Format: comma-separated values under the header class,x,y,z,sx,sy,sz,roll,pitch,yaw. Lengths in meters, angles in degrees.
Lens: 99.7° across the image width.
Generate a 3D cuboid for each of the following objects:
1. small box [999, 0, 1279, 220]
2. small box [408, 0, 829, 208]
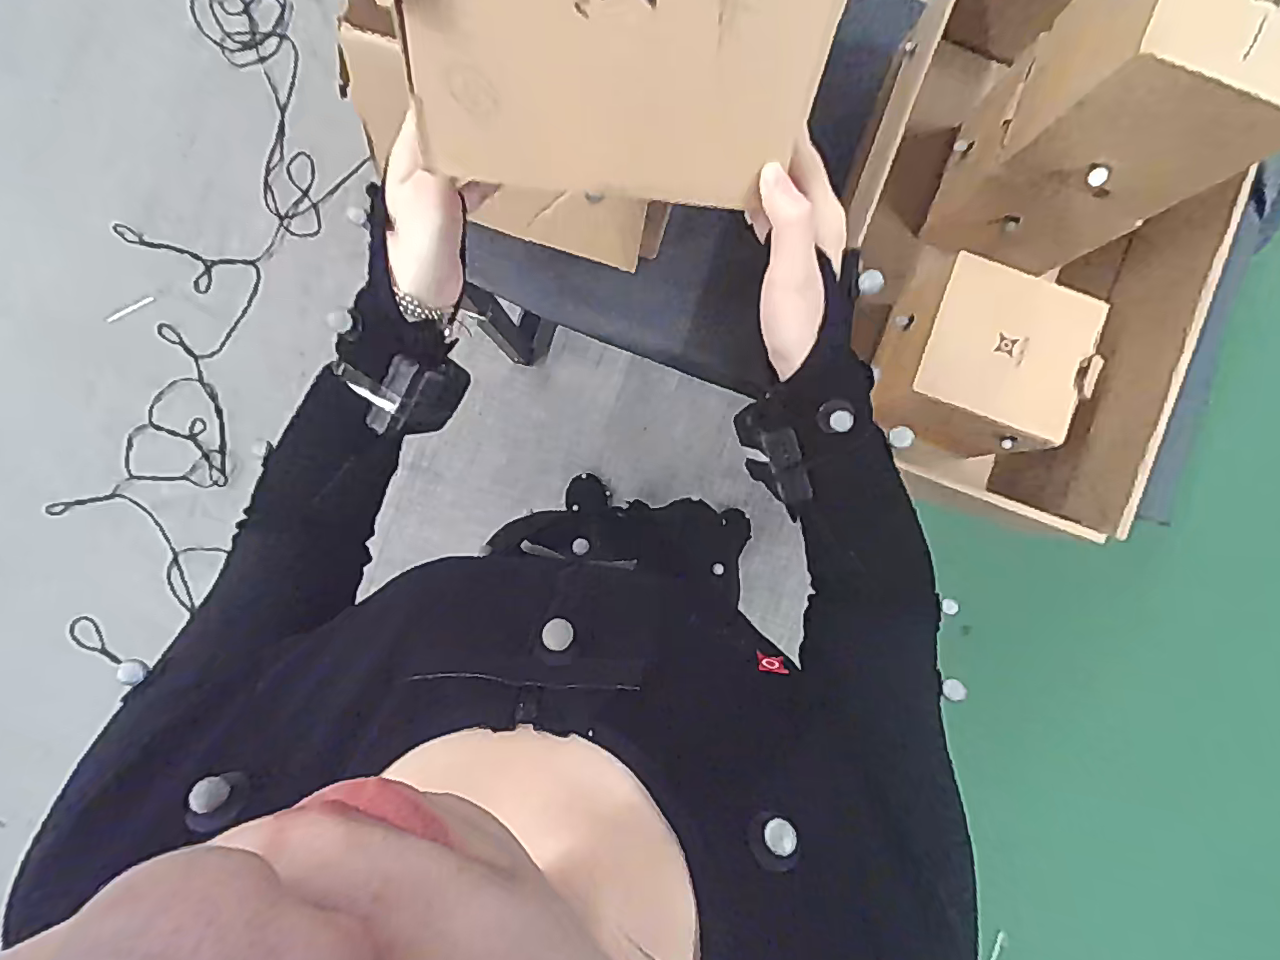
class,x,y,z,sx,sy,sz,roll,pitch,yaw
small box,0.490,-0.389,0.512,0.168,0.176,0.179,21,92,-1
small box,-0.012,-0.259,0.274,0.179,0.176,0.168,1,134,-8
